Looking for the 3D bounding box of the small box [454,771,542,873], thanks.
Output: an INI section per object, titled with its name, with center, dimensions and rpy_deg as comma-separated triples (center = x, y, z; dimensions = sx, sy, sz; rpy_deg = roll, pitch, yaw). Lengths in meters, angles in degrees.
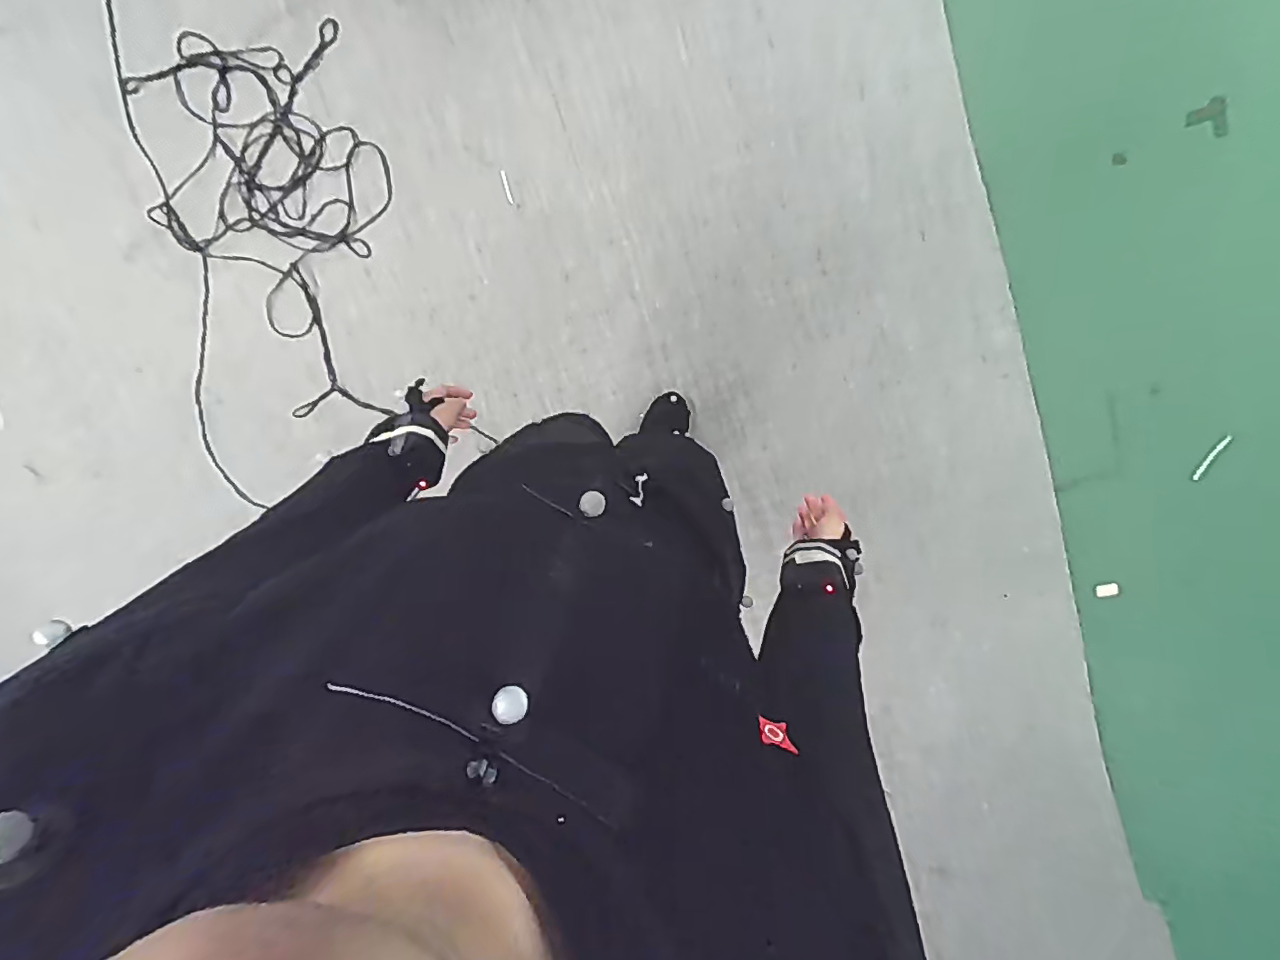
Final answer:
[small box]
center = -0.379, 0.918, 1.467
dimensions = 0.168, 0.176, 0.179
rpy_deg = -8, 100, 7
